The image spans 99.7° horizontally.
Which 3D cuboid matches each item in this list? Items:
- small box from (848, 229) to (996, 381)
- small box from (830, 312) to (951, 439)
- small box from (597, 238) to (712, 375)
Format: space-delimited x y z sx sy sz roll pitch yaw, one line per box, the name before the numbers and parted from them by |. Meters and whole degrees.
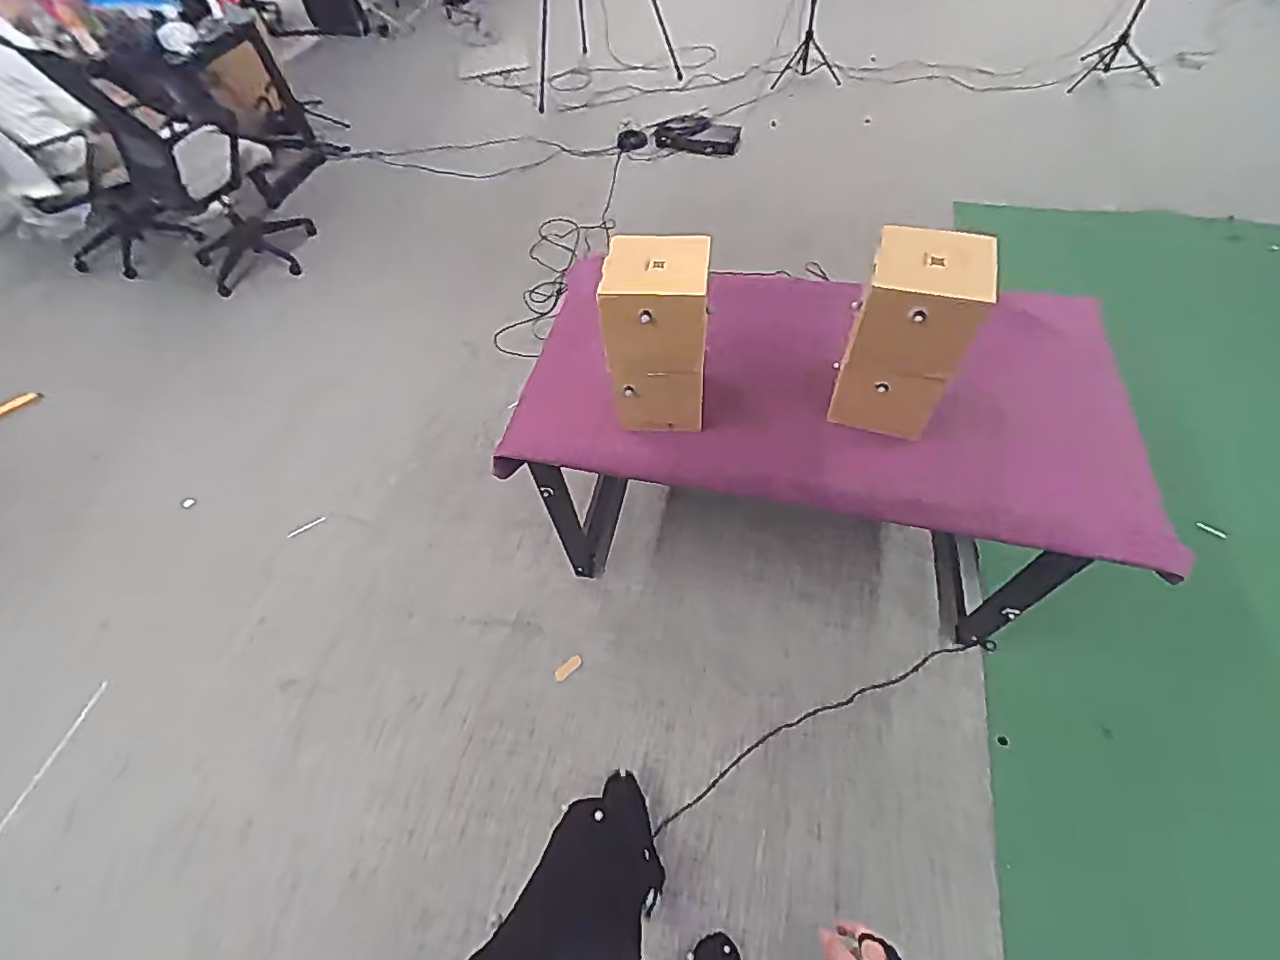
small box | 0.463 -0.289 0.905 0.179 0.176 0.168 15 60 15
small box | 0.479 -0.201 1.041 0.179 0.176 0.168 16 59 15
small box | 0.032 -0.302 0.955 0.179 0.176 0.168 3 56 8
